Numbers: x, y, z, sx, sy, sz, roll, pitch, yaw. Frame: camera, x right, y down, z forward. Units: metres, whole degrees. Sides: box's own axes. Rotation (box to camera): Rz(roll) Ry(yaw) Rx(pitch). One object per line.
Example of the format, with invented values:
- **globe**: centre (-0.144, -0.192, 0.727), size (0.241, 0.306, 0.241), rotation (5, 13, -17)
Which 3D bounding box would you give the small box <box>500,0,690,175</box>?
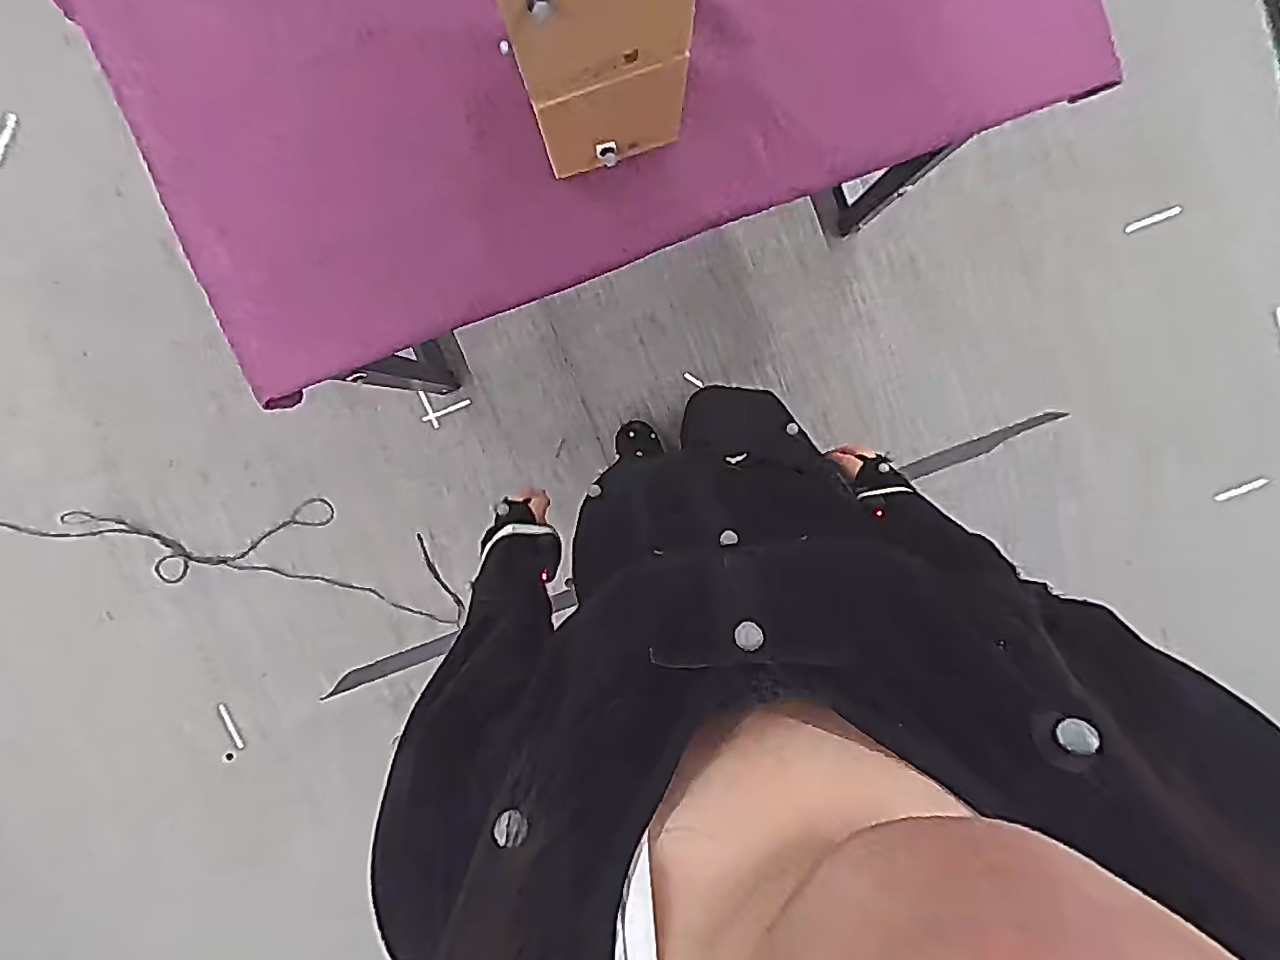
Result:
- **small box**: centre (-0.055, -0.489, 0.610), size (0.168, 0.176, 0.179), rotation (-19, 96, 1)
